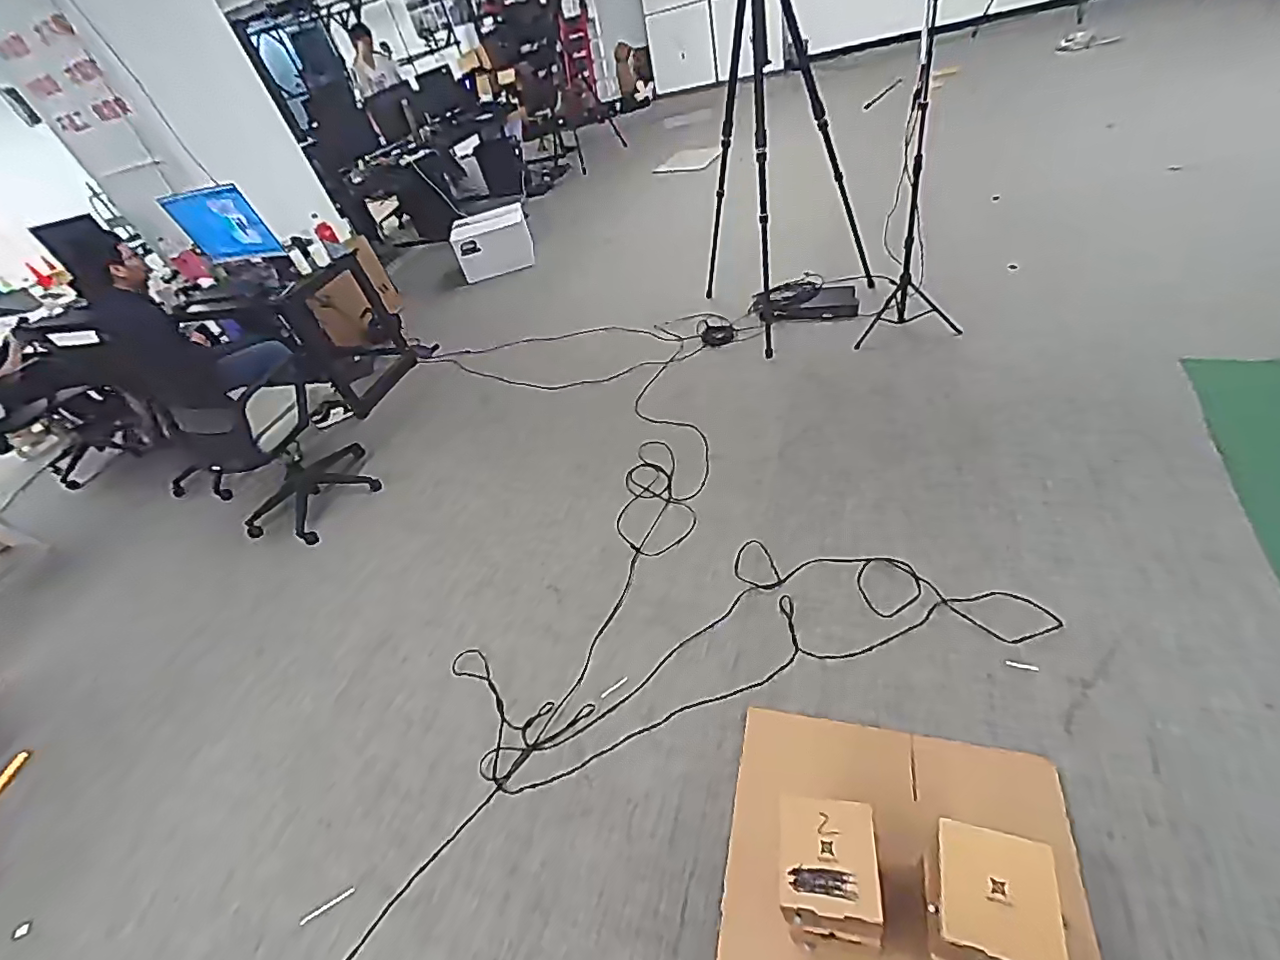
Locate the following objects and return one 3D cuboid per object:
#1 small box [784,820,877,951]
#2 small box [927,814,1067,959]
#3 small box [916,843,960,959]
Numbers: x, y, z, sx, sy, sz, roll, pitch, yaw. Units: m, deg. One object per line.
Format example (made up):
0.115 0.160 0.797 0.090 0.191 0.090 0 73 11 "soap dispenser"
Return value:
0.384 0.824 1.097 0.168 0.176 0.179 -2 45 18 "small box"
0.586 0.705 0.913 0.168 0.176 0.179 3 47 23 "small box"
0.621 0.824 1.019 0.168 0.176 0.179 0 46 22 "small box"
